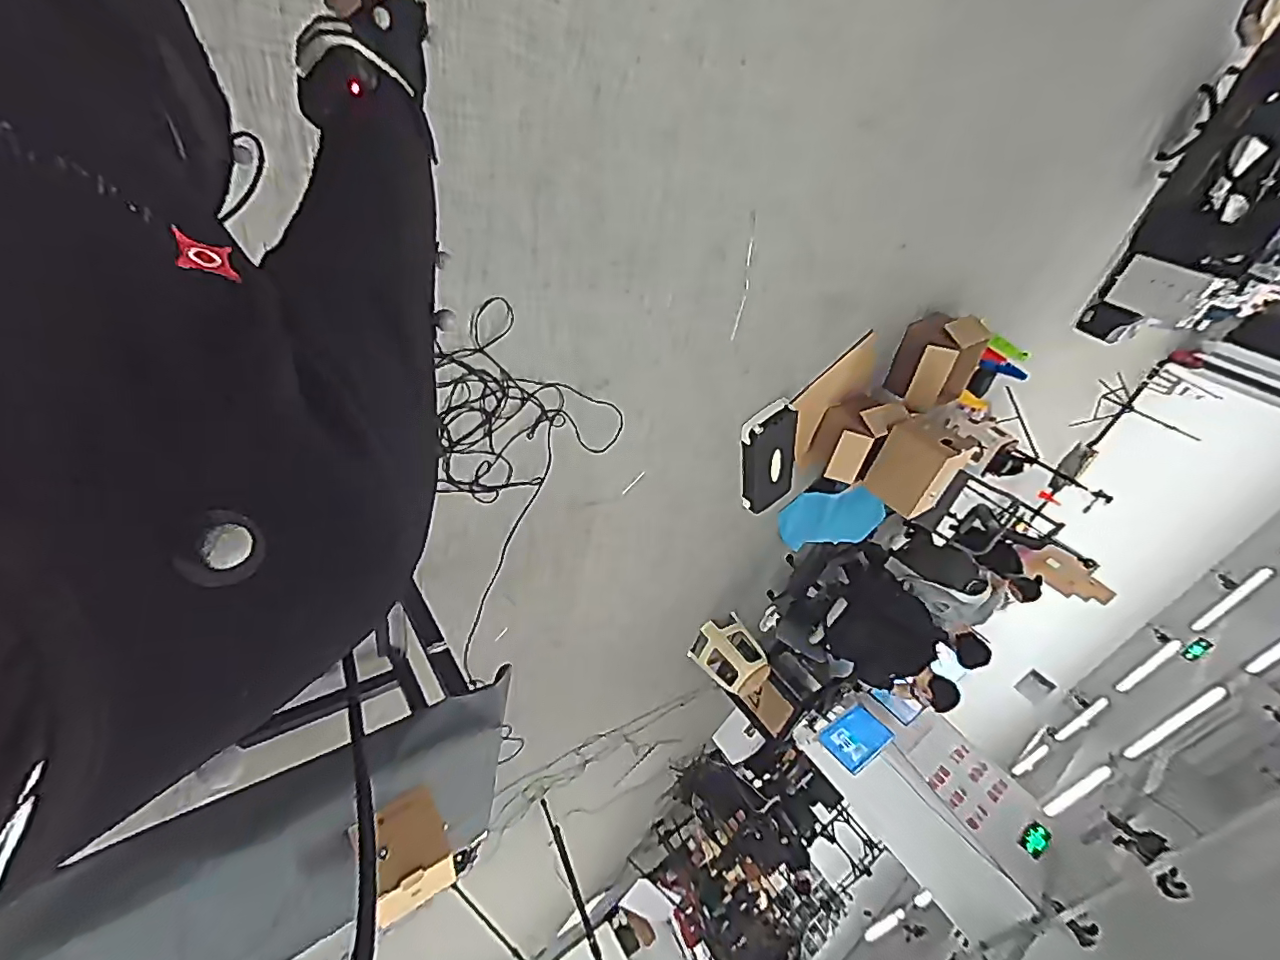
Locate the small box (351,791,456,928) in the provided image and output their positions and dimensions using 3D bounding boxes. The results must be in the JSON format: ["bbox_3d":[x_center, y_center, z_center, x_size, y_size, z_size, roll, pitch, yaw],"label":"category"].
[{"bbox_3d":[-0.520,0.828,1.196,0.168,0.176,0.179,-18,138,-31],"label":"small box"}]
